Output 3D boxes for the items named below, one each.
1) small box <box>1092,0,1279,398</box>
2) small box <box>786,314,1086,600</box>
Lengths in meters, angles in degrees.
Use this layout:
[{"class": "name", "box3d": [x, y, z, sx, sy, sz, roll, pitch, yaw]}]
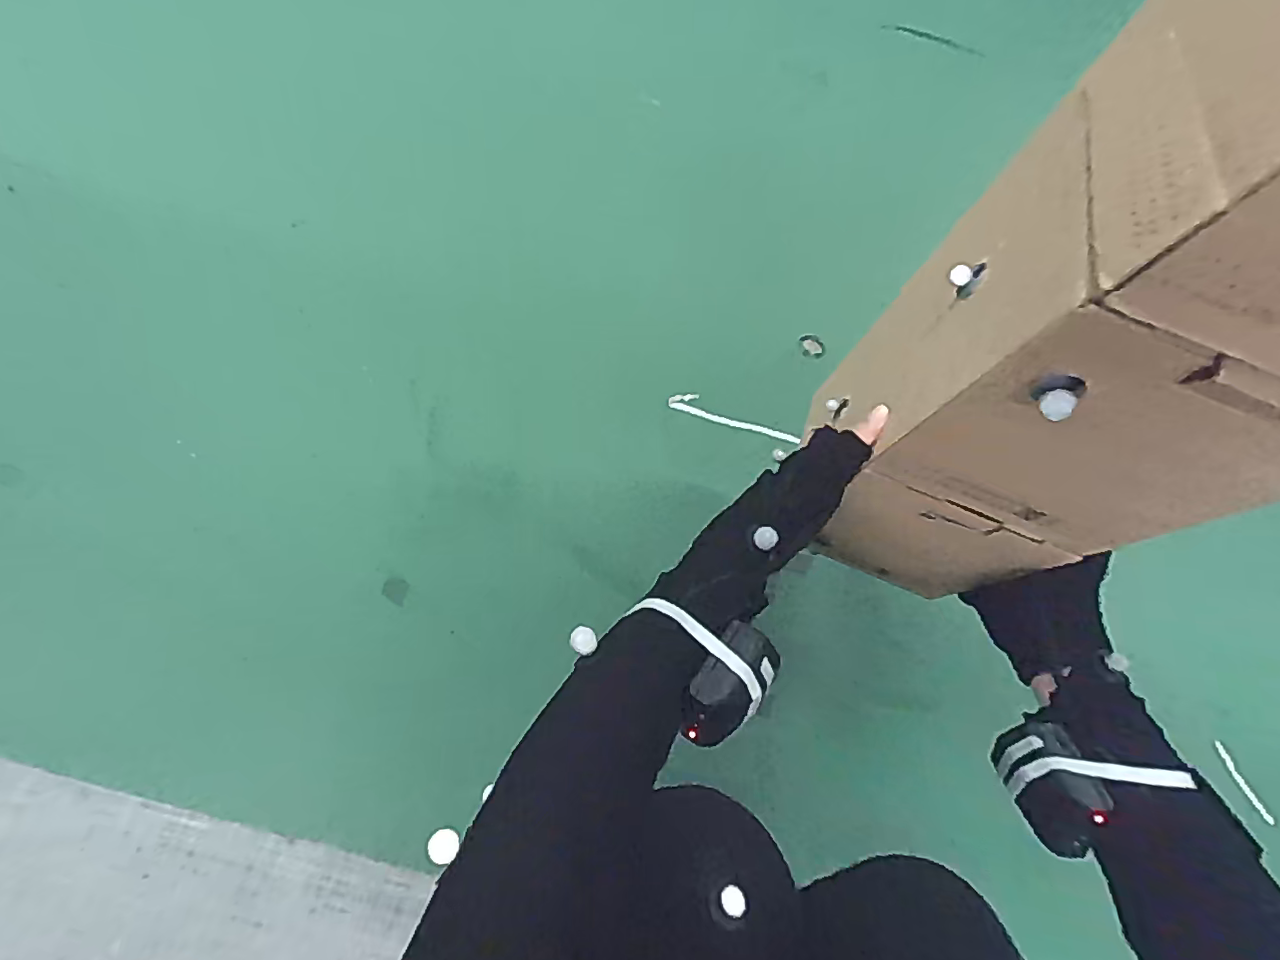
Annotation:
[{"class": "small box", "box3d": [0.303, -0.138, 0.187, 0.168, 0.176, 0.179, 21, 65, -1]}, {"class": "small box", "box3d": [0.248, -0.006, 0.483, 0.168, 0.176, 0.179, 20, 68, -1]}]
